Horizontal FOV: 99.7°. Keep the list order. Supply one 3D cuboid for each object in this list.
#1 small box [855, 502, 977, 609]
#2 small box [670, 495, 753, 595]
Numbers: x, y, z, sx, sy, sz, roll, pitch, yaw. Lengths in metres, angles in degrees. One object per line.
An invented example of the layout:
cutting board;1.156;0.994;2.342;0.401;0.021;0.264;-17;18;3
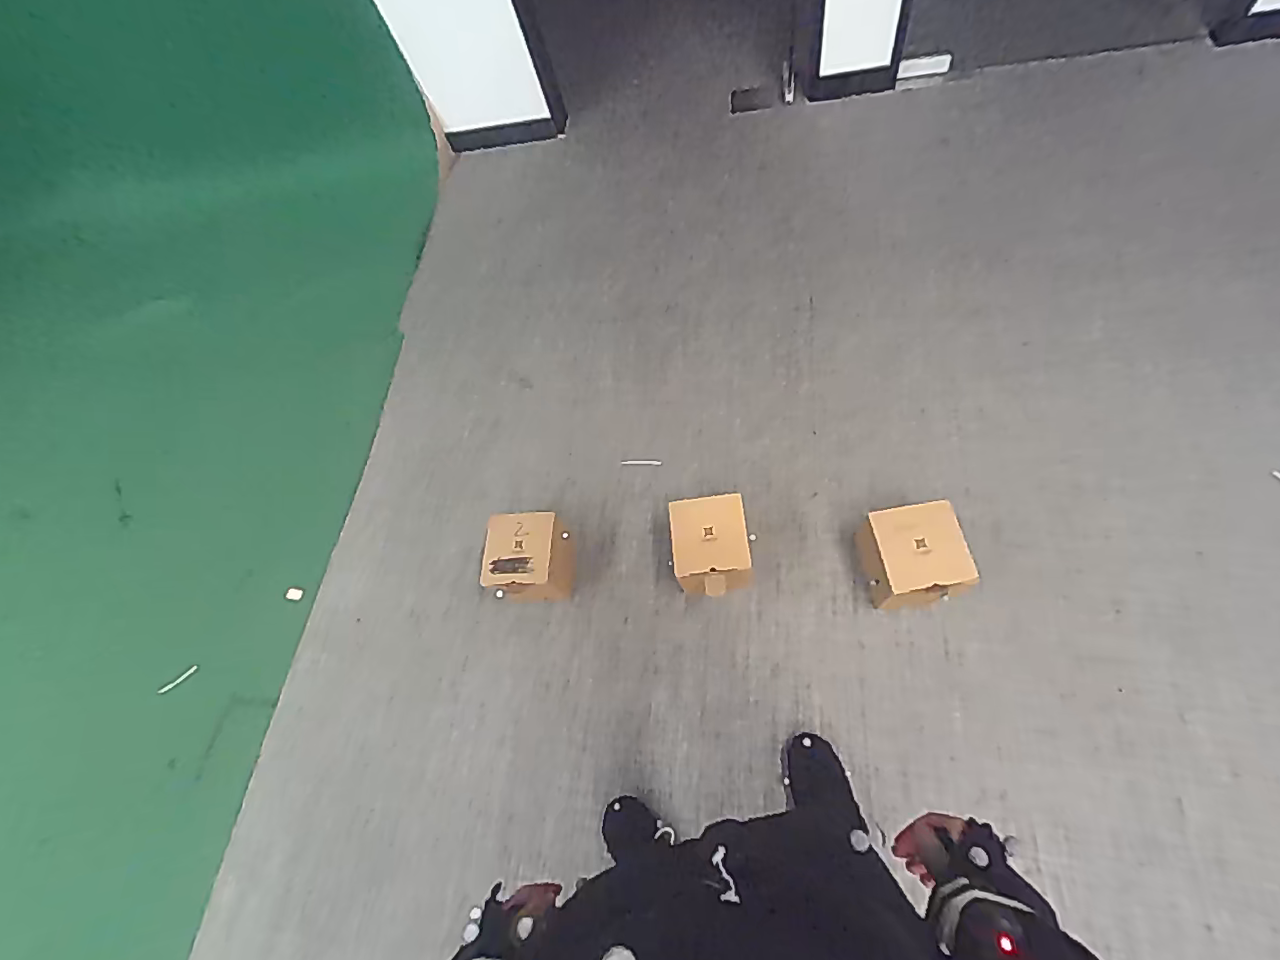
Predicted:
small box;0.574;0.170;1.150;0.168;0.176;0.179;-10;63;6
small box;0.165;0.154;1.245;0.168;0.176;0.179;-8;65;9
